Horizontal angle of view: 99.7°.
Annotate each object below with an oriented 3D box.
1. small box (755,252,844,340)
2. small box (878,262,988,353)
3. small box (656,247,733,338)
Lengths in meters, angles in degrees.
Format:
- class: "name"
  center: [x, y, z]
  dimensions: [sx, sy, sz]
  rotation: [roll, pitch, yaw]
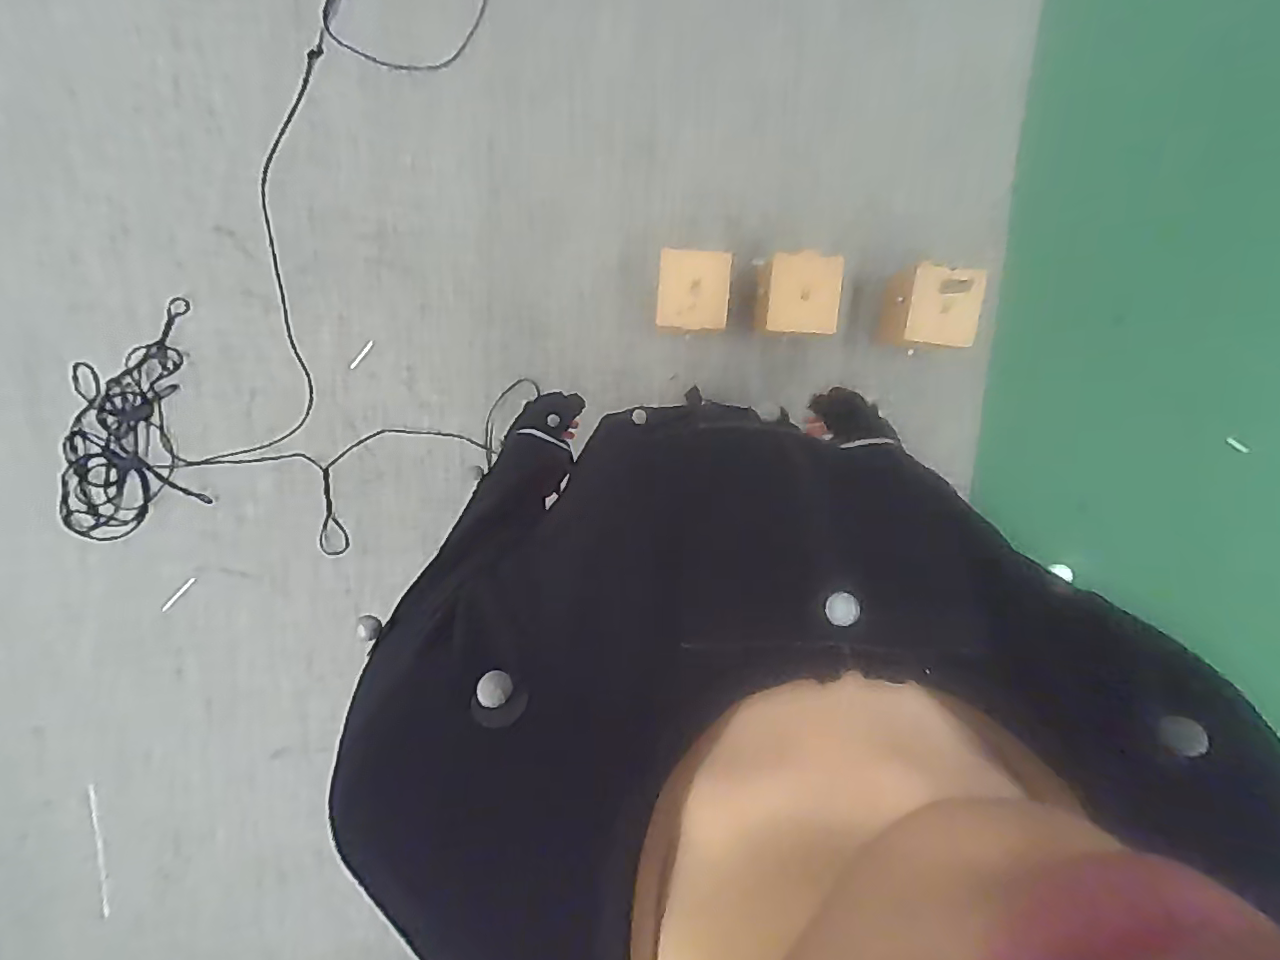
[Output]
- class: "small box"
  center: [0.382, -0.443, 1.326]
  dimensions: [0.168, 0.176, 0.179]
  rotation: [3, 98, 0]
- class: "small box"
  center: [0.707, -0.416, 1.326]
  dimensions: [0.168, 0.176, 0.179]
  rotation: [7, 99, 0]
- class: "small box"
  center: [0.127, -0.452, 1.324]
  dimensions: [0.168, 0.176, 0.179]
  rotation: [4, 98, 1]
